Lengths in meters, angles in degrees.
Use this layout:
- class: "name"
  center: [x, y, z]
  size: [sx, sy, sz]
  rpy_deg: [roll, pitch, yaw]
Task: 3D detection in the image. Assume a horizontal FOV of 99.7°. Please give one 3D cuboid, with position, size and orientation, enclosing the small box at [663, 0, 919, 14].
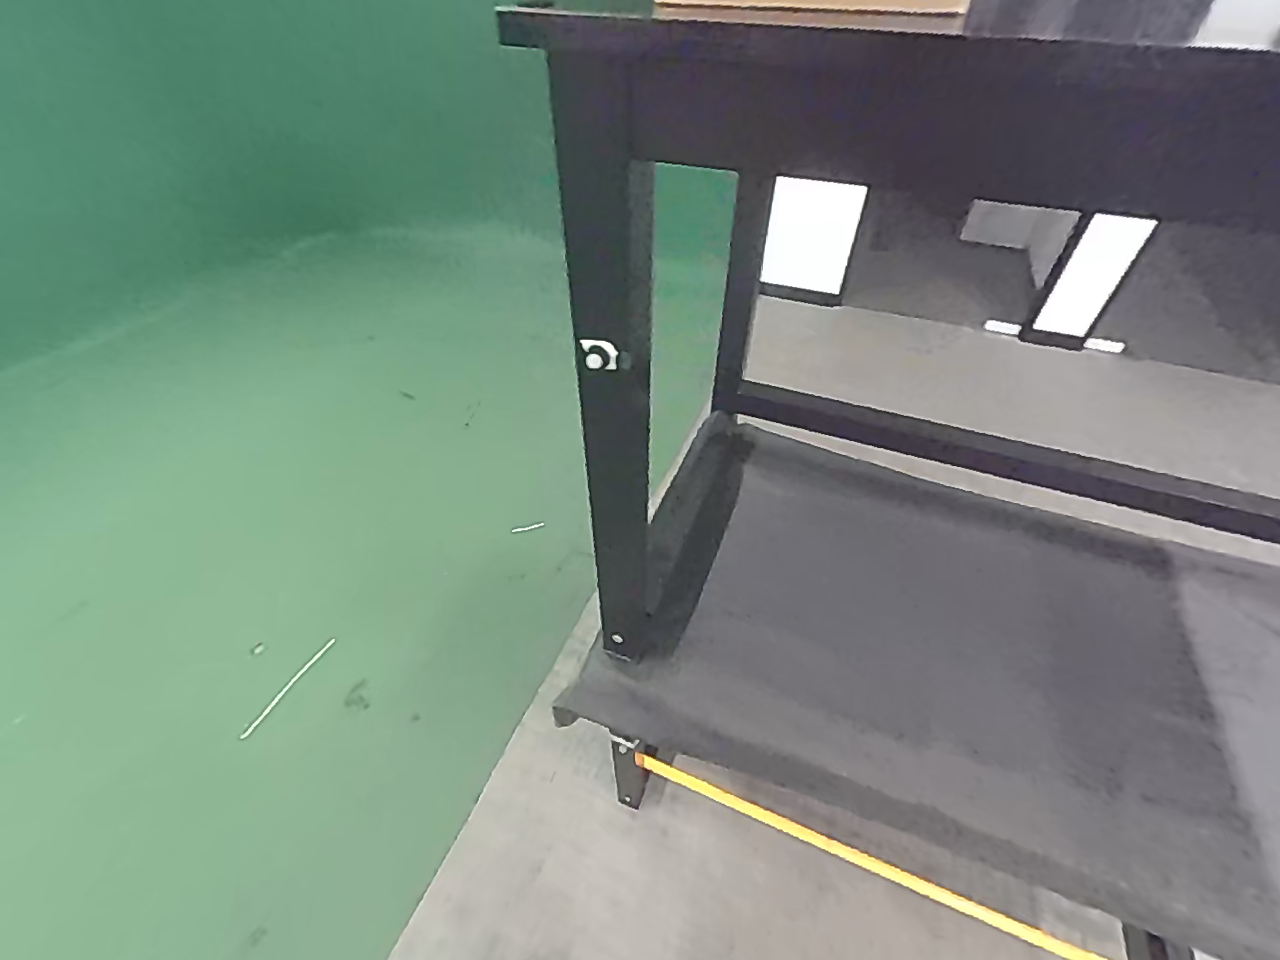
- class: "small box"
  center: [0.101, -0.381, 0.306]
  size: [0.168, 0.176, 0.179]
  rpy_deg: [12, 46, 10]
